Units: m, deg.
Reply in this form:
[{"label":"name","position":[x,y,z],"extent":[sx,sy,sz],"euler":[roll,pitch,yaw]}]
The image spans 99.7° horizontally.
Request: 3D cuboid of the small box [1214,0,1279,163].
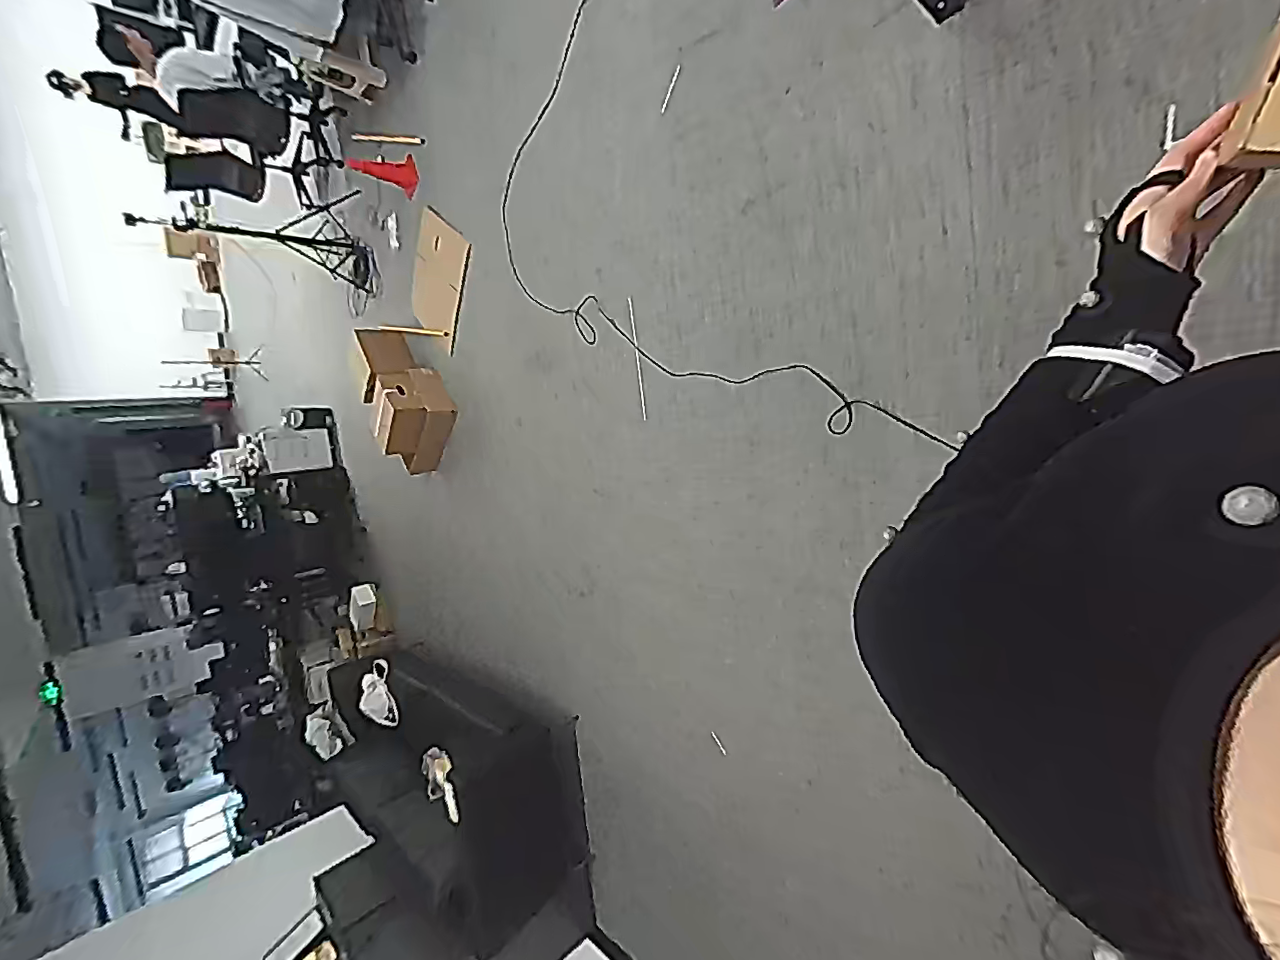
[{"label":"small box","position":[0.446,-0.258,0.271],"extent":[0.179,0.176,0.168],"euler":[22,124,33]}]
